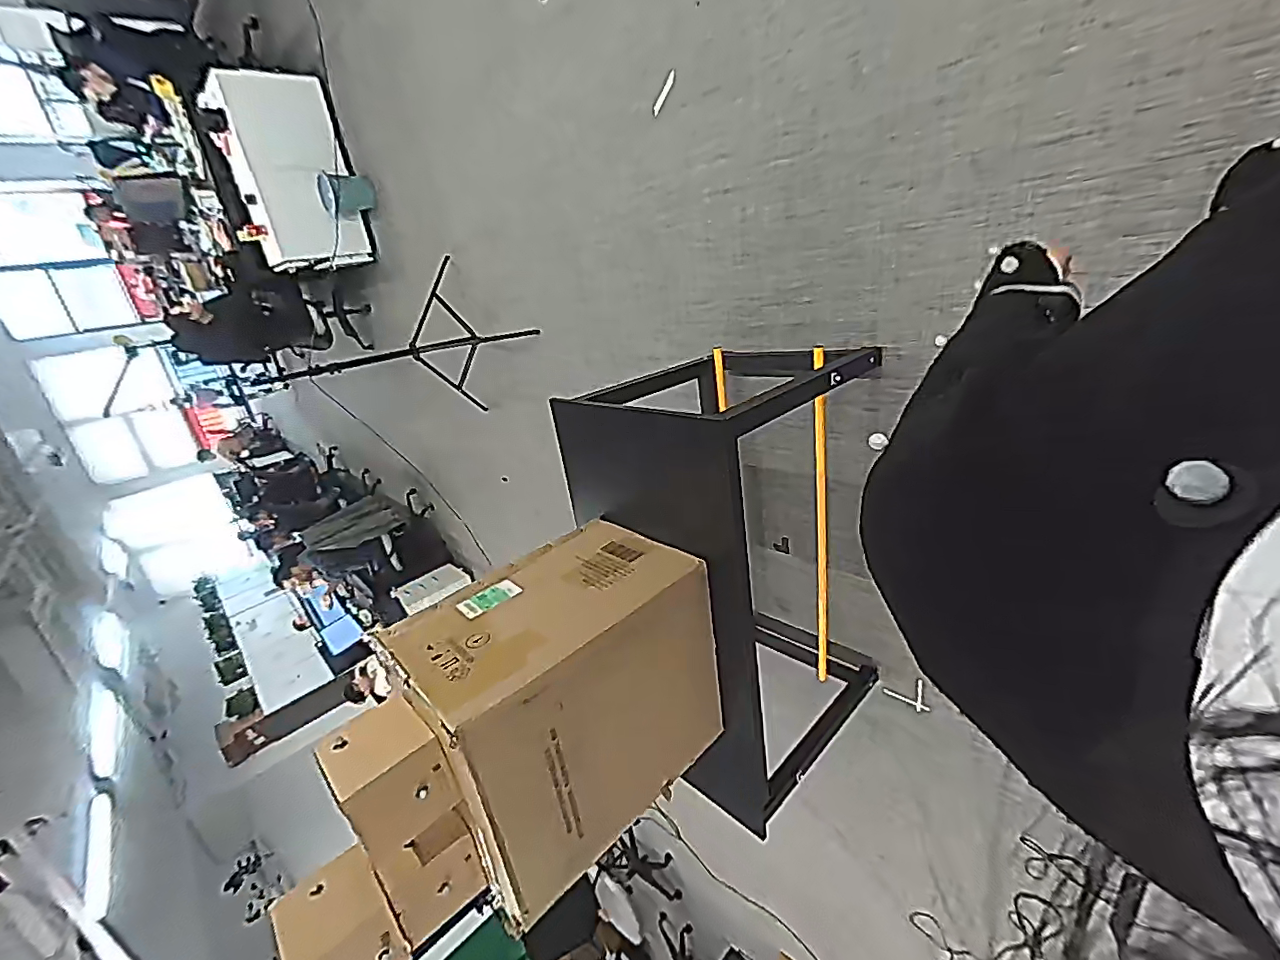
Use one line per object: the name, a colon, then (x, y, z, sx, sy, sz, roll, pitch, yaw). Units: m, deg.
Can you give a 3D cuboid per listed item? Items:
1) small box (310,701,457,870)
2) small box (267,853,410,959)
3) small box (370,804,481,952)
small box: (-0.461, 0.537, 0.983, 0.179, 0.176, 0.168, 14, 123, 45)
small box: (-0.552, 0.841, 0.999, 0.179, 0.176, 0.168, 12, 119, 46)
small box: (-0.443, 0.782, 1.106, 0.179, 0.176, 0.168, 13, 119, 46)
